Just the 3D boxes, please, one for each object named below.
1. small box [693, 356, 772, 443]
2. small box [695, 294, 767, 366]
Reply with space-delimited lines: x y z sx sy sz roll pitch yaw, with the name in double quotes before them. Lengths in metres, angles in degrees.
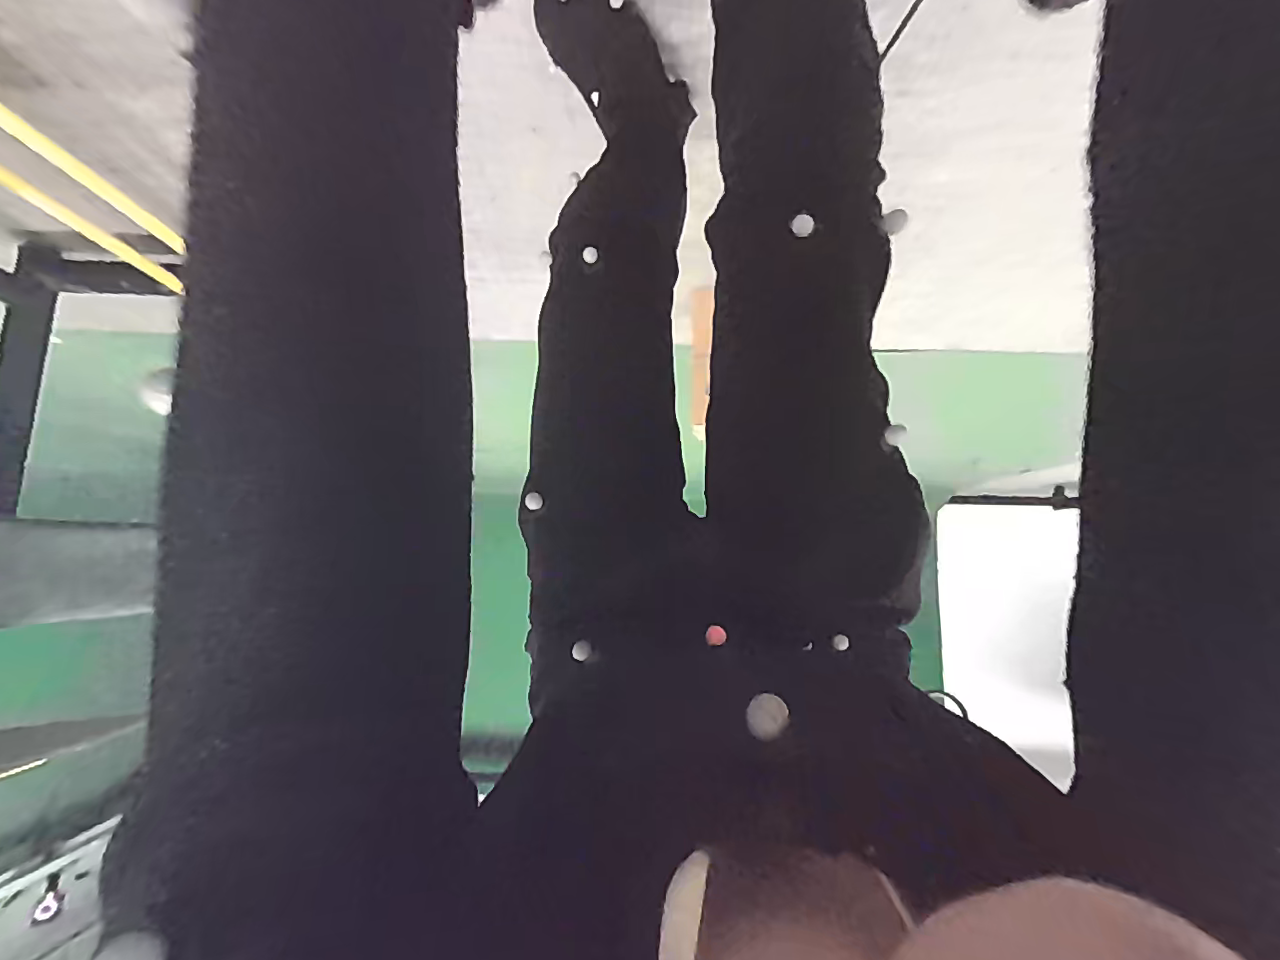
"small box" 0.224 -0.189 1.298 0.179 0.176 0.168 -1 172 13
"small box" 0.222 -0.348 1.333 0.168 0.176 0.179 0 172 10
